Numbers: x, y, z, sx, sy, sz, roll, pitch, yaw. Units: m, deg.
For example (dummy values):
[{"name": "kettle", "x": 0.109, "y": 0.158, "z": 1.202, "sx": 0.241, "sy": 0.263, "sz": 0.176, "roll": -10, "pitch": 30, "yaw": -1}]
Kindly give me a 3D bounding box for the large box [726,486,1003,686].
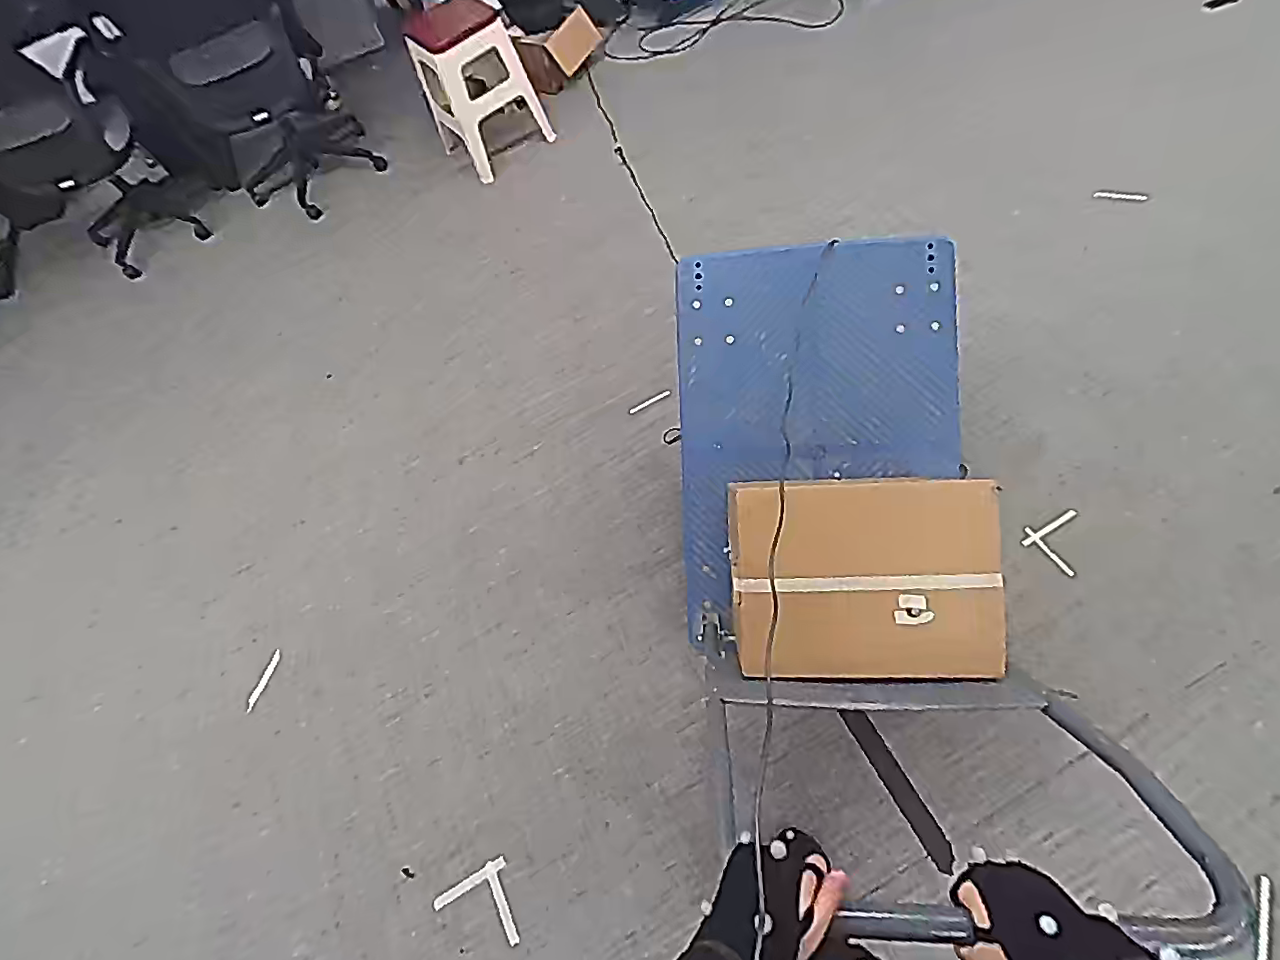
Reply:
[{"name": "large box", "x": 0.376, "y": 0.172, "z": 1.006, "sx": 0.408, "sy": 0.320, "sz": 0.320, "roll": -2, "pitch": 91, "yaw": 6}]
